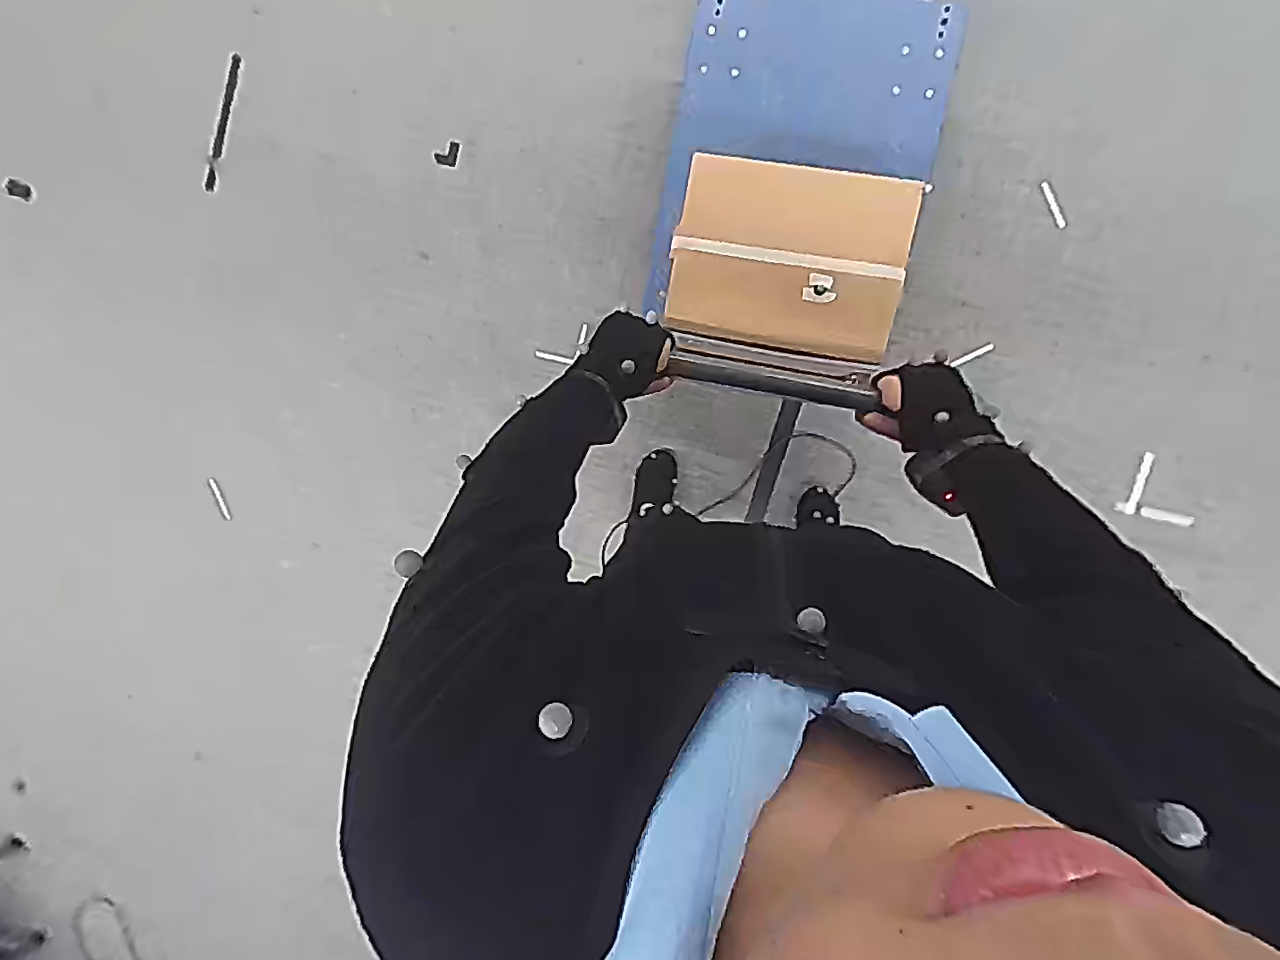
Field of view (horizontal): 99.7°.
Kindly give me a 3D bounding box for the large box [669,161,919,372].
[{"bbox_3d":[0.287,-0.416,1.127,0.408,0.320,0.320,11,99,6],"label":"large box"}]
